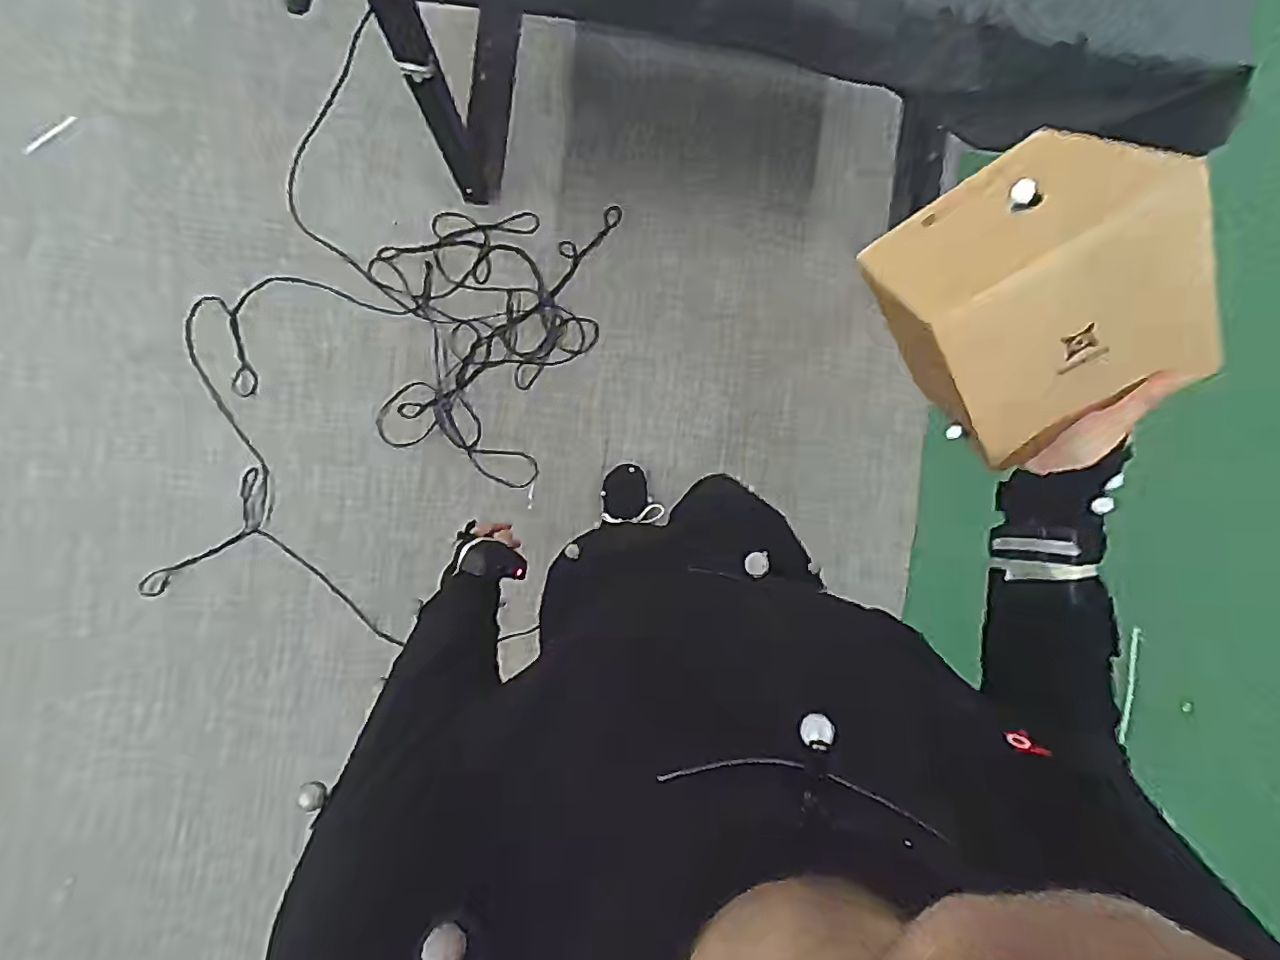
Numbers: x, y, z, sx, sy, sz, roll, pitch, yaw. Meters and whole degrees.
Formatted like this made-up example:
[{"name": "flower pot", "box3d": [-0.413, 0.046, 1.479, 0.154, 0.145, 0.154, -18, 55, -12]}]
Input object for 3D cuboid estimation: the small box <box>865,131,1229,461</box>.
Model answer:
[{"name": "small box", "box3d": [0.317, -0.156, 0.449, 0.168, 0.176, 0.179, -32, 123, 22]}]
